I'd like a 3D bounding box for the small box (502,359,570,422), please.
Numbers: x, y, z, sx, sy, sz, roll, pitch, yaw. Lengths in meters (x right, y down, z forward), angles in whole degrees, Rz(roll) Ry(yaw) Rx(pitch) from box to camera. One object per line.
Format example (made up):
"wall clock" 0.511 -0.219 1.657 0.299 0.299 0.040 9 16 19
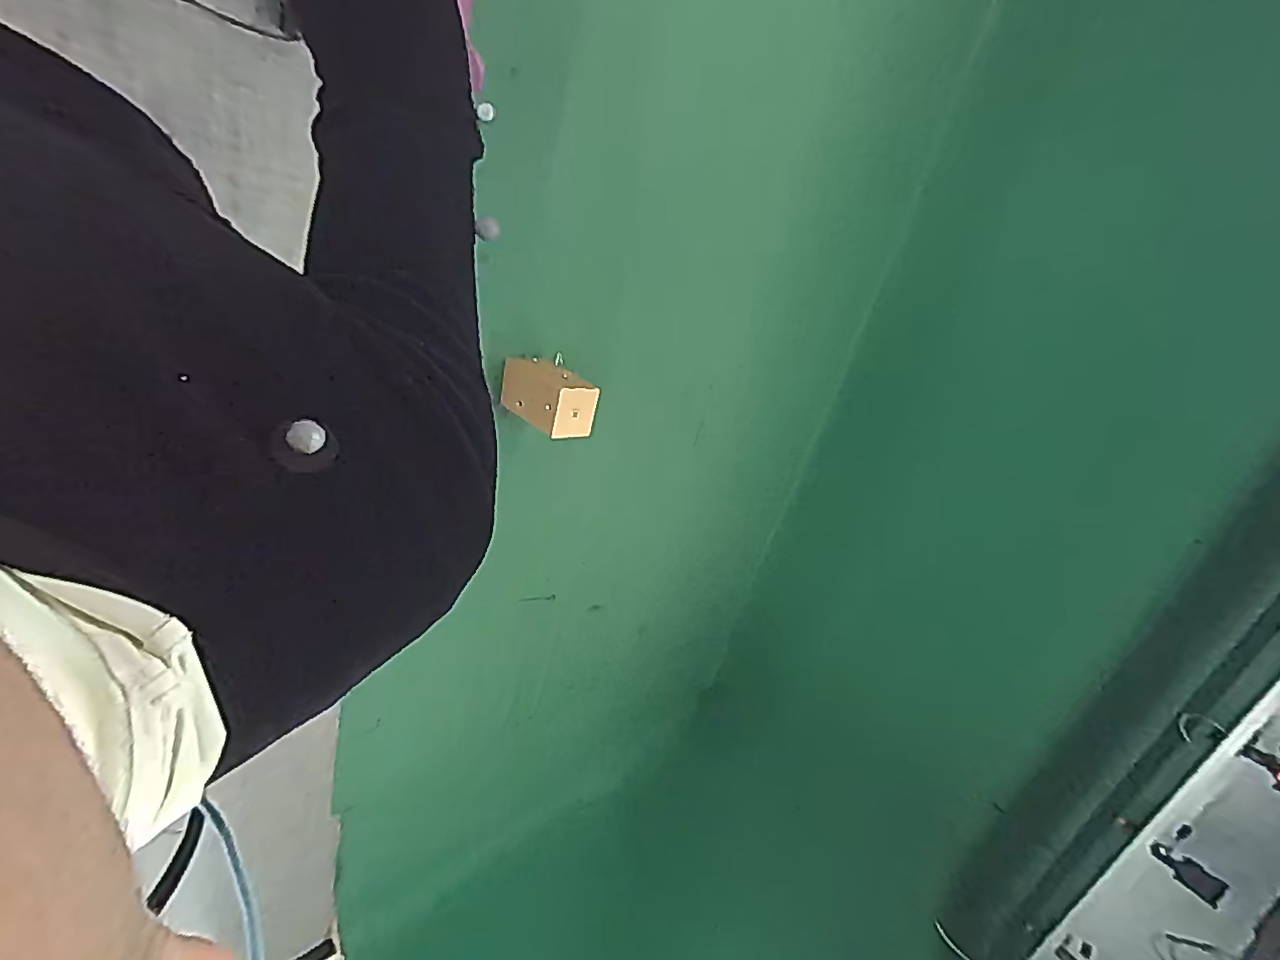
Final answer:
"small box" -0.378 -0.323 1.938 0.168 0.176 0.179 -11 124 -44

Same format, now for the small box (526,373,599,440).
"small box" -0.269 -0.251 1.841 0.168 0.176 0.179 -9 122 -45
